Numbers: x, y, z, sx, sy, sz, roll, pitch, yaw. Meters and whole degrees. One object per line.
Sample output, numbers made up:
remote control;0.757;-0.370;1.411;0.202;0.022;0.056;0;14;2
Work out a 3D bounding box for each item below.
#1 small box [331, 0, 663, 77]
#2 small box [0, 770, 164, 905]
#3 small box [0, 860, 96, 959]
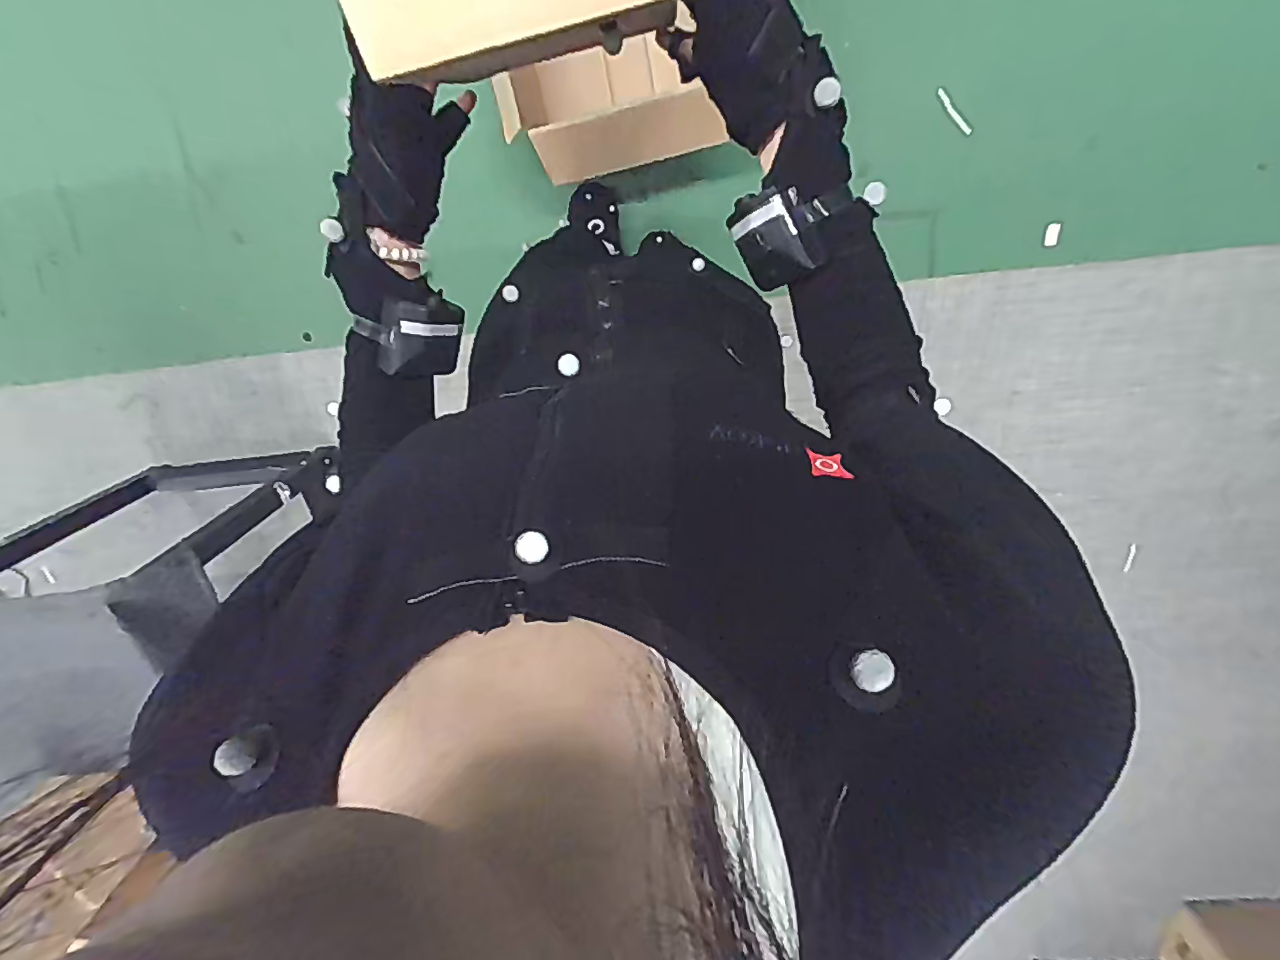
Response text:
small box;-0.082;-0.347;0.305;0.179;0.176;0.168;-9;125;9
small box;-1.091;0.693;1.055;0.179;0.176;0.168;-6;115;6
small box;-1.109;0.778;0.914;0.179;0.176;0.168;-8;116;5
